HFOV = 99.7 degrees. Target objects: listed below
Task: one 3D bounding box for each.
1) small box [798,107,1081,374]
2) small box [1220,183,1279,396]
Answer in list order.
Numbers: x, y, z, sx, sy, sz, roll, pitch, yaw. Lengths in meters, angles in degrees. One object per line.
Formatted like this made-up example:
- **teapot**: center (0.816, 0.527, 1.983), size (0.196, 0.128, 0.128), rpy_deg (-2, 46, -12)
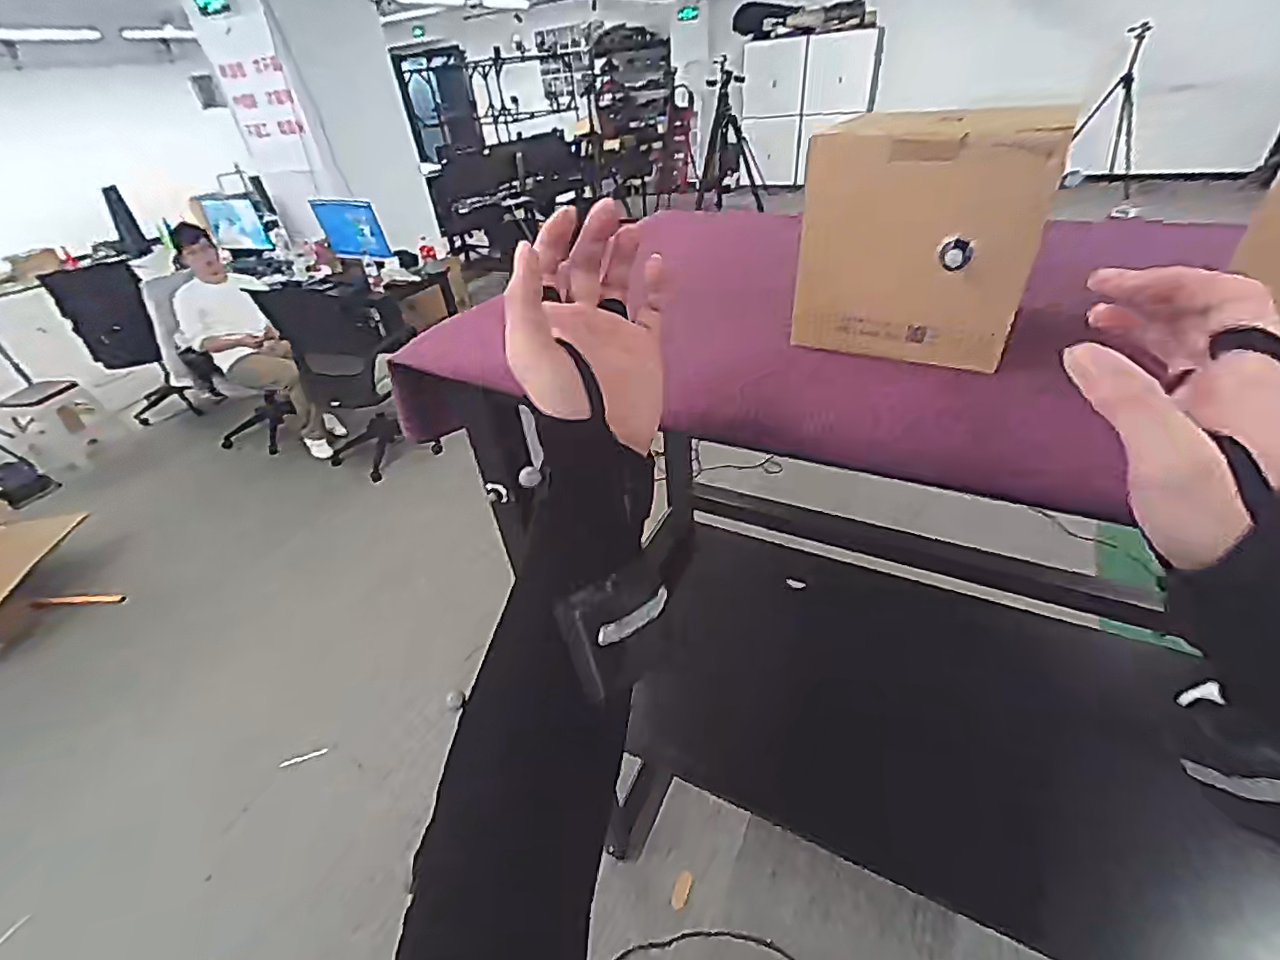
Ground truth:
- **small box**: center (0.246, -0.207, 0.467), size (0.168, 0.176, 0.179), rpy_deg (19, 42, 29)
- **small box**: center (0.521, -0.141, 0.333), size (0.179, 0.176, 0.168), rpy_deg (13, 40, 24)
